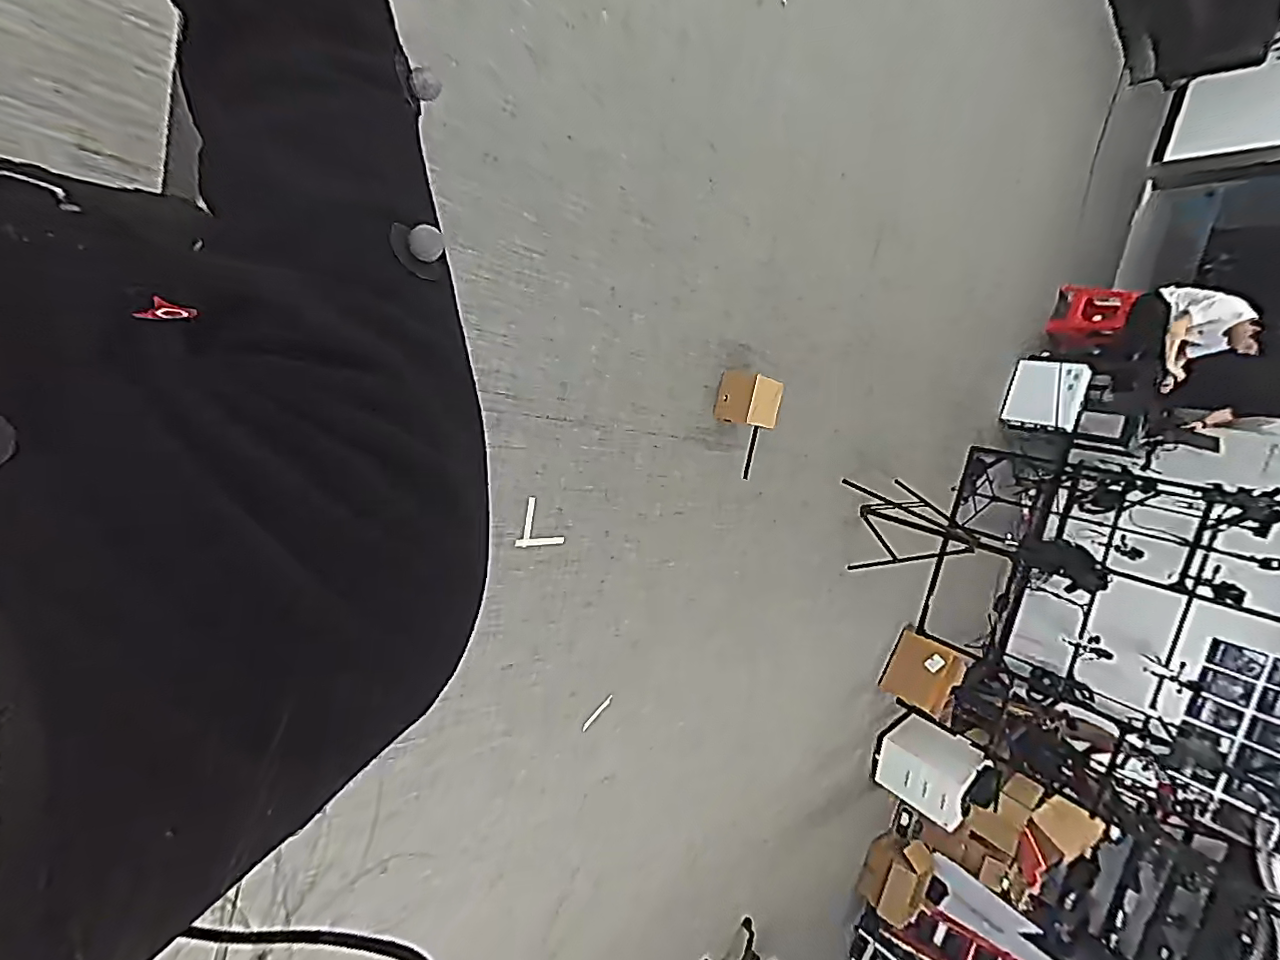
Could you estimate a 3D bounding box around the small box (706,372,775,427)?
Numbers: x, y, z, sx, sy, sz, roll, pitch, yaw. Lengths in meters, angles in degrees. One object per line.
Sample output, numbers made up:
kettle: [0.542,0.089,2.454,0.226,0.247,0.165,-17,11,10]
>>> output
small box: [0.381,-0.301,2.035,0.168,0.176,0.179,5,101,-42]
